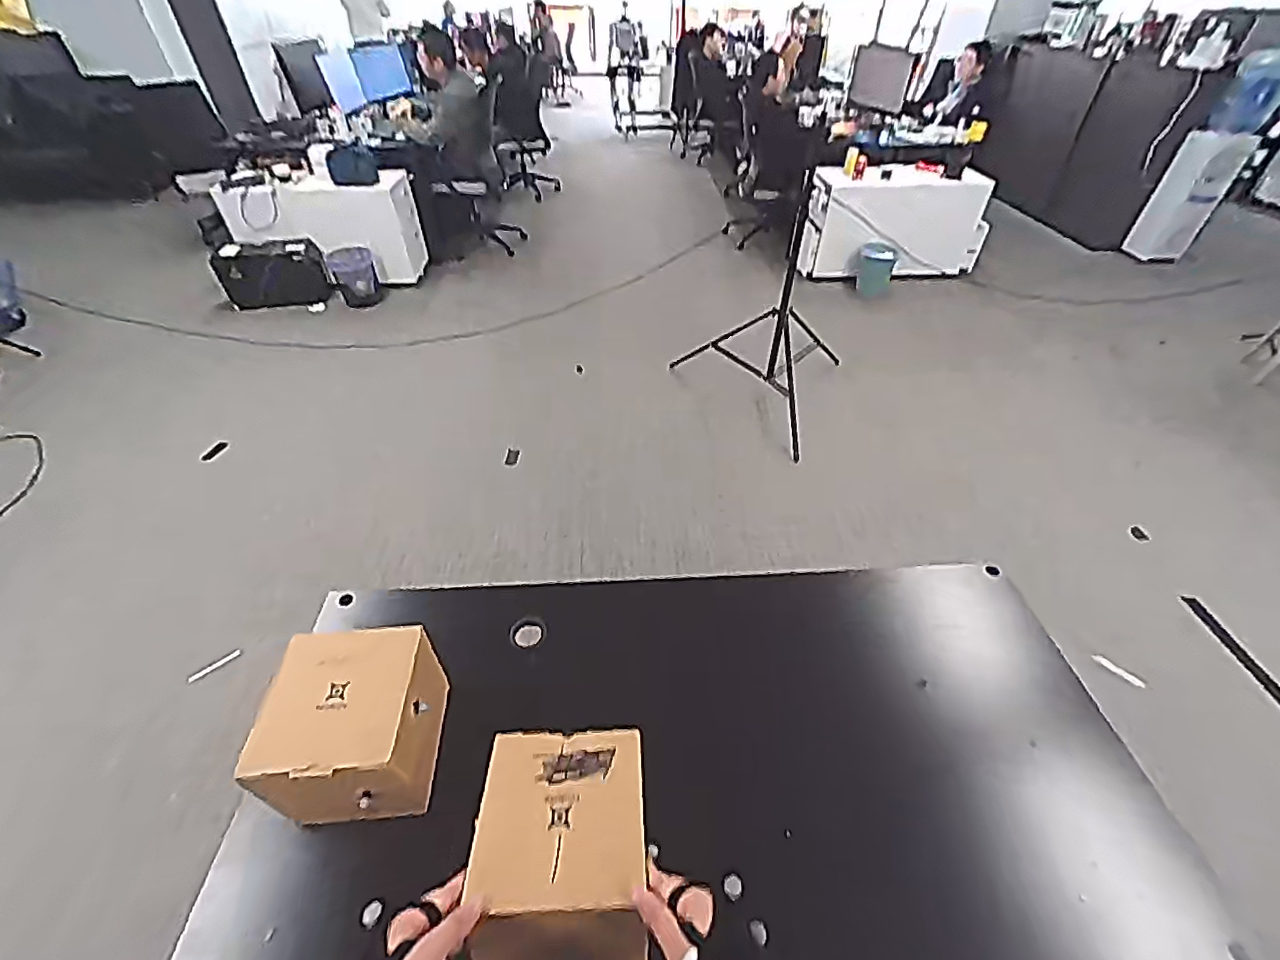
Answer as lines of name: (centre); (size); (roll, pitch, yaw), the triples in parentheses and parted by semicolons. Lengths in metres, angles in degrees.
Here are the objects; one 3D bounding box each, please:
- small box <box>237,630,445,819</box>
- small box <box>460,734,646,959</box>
small box: (-0.362, 0.319, 0.701); (0.168, 0.176, 0.179); (-2, 42, -5)
small box: (-0.079, 0.405, 0.582); (0.168, 0.176, 0.179); (-2, 29, -2)
